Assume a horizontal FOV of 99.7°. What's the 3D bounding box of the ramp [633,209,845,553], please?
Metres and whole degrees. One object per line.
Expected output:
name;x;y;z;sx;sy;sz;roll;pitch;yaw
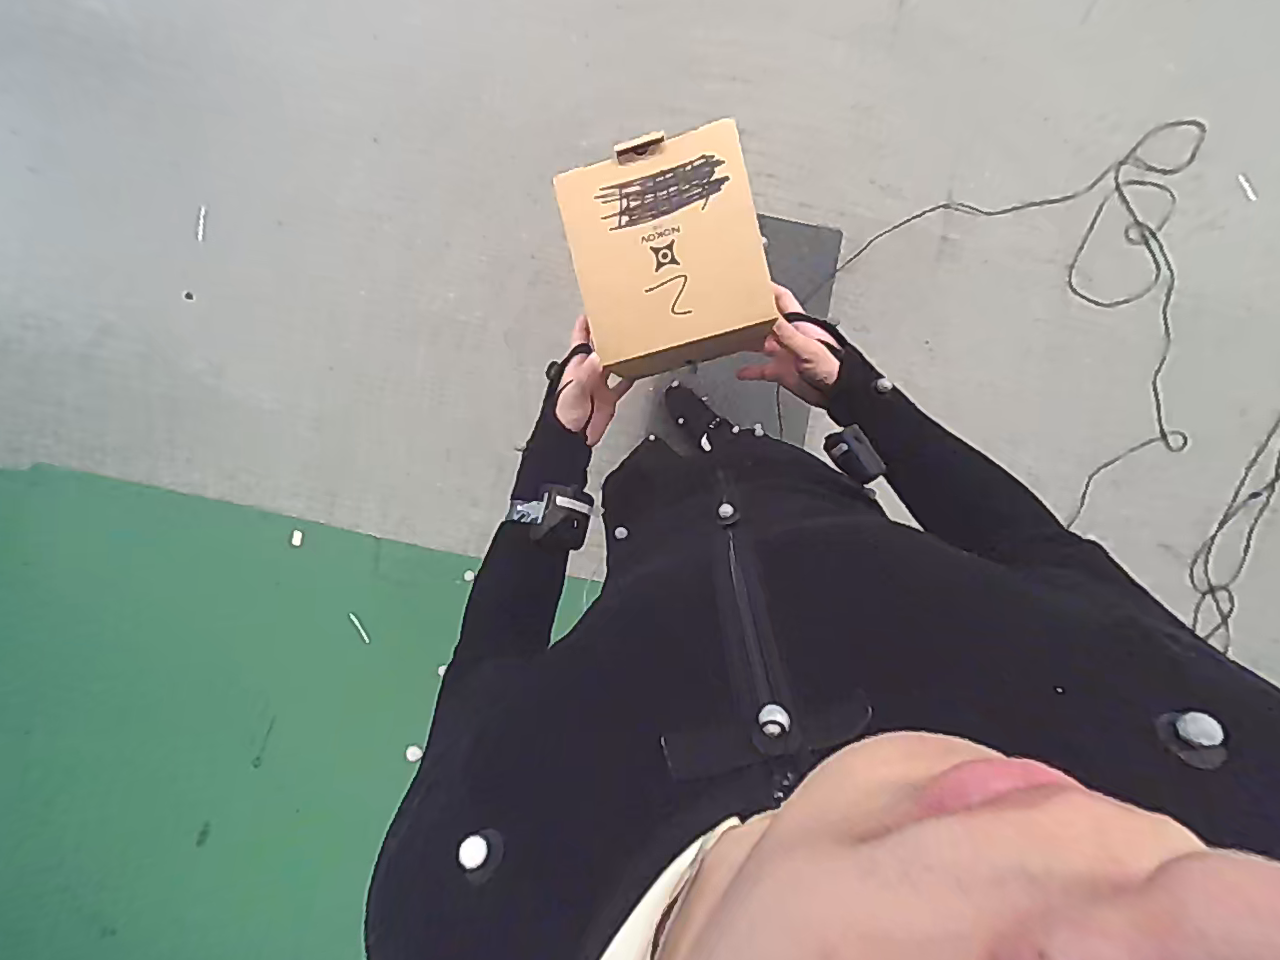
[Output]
ramp;0.305;-0.310;1.652;0.509;0.206;0.991;10;97;1
